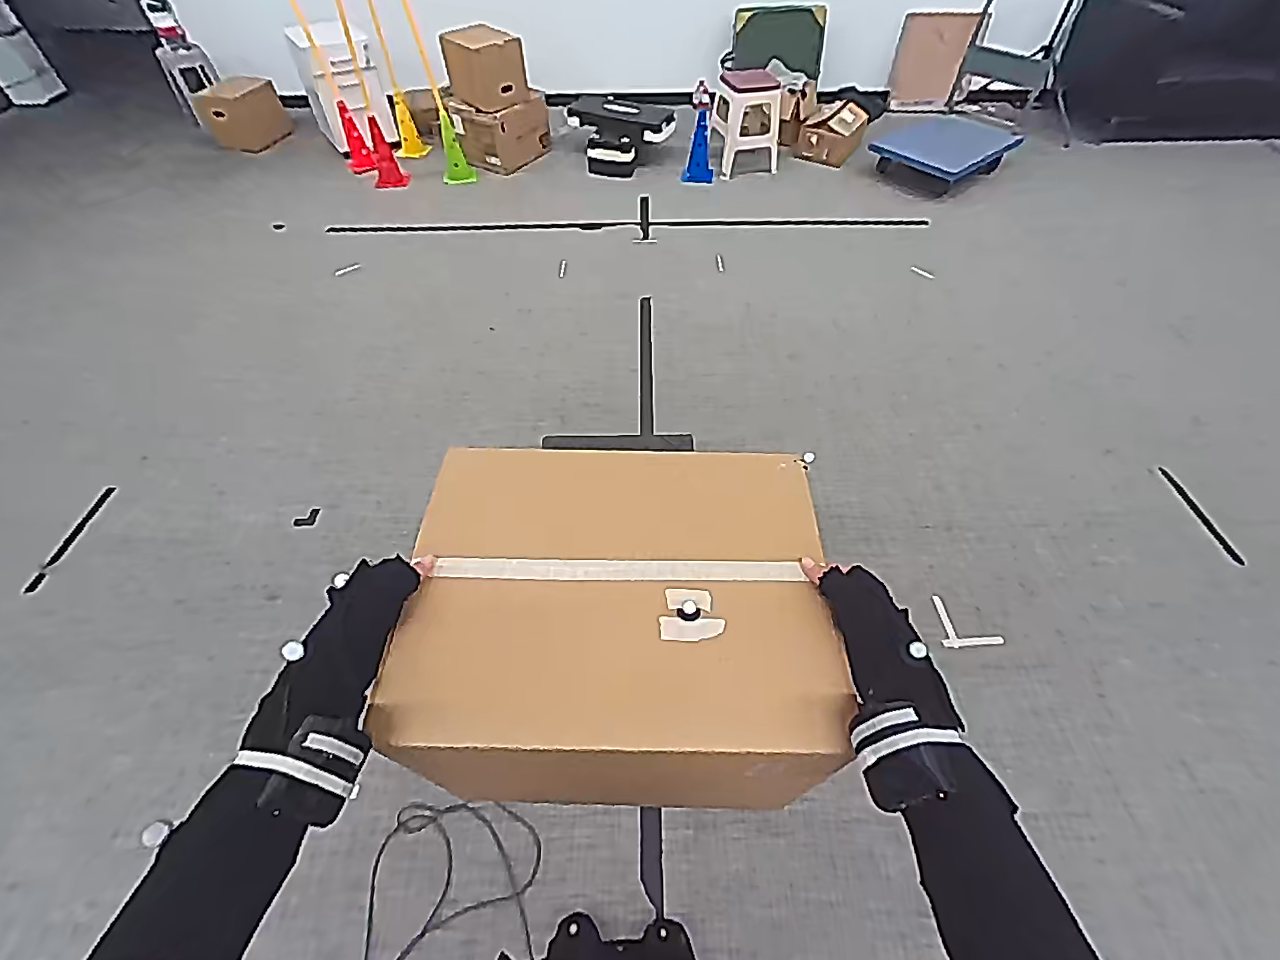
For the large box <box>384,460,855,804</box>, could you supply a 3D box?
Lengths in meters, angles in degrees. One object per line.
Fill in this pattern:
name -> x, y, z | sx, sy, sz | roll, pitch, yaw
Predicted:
large box -> -0.019, 0.191, 0.656 | 0.408, 0.320, 0.320 | 1, 52, 0
